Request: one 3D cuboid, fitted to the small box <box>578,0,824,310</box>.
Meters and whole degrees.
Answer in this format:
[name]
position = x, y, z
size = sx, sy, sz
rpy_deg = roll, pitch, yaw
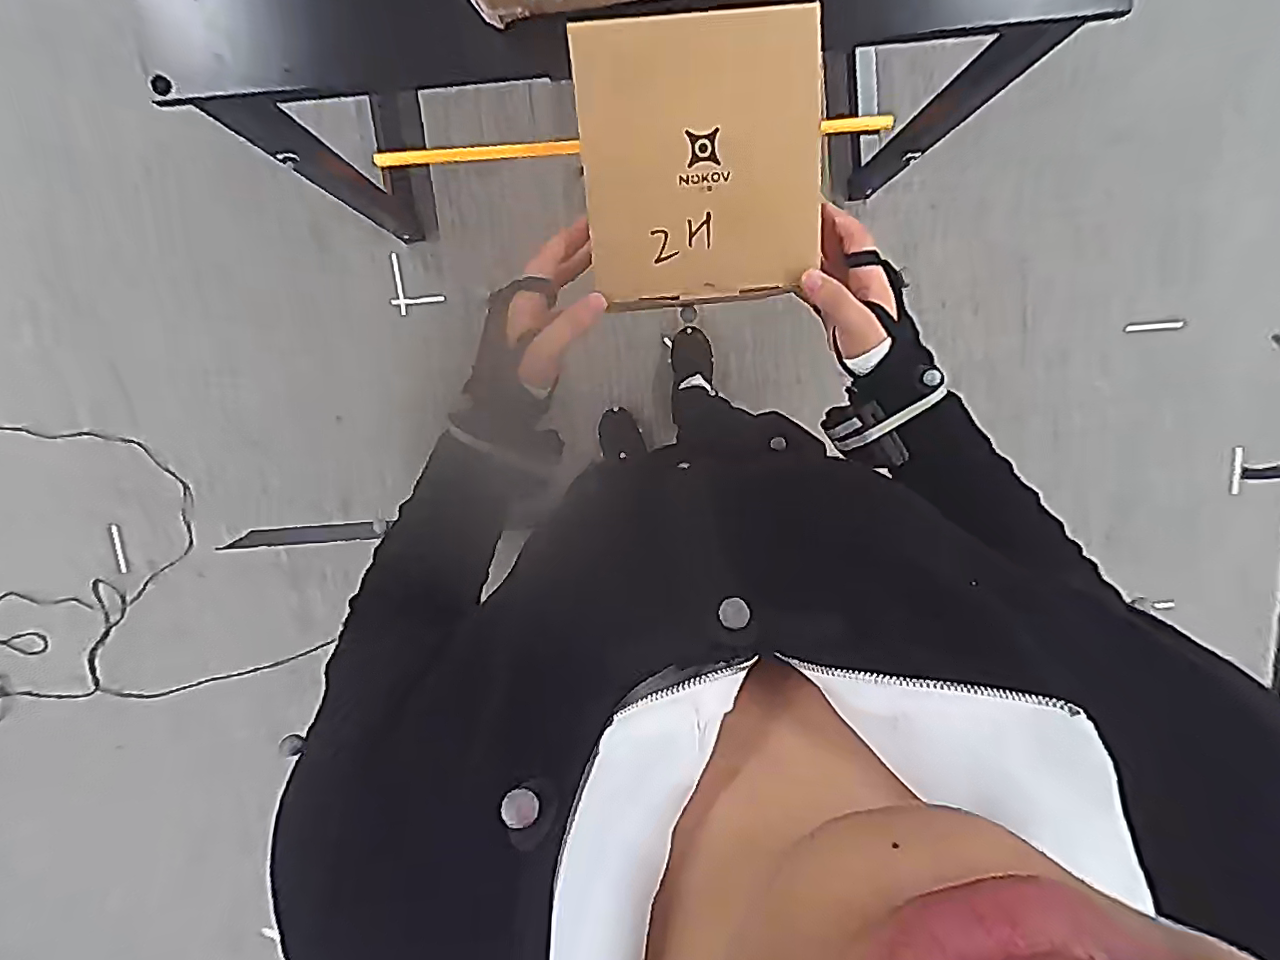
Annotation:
[small box]
position = 0.041, -0.242, 0.448
size = 0.168, 0.176, 0.179
rpy_deg = -6, 105, -1
